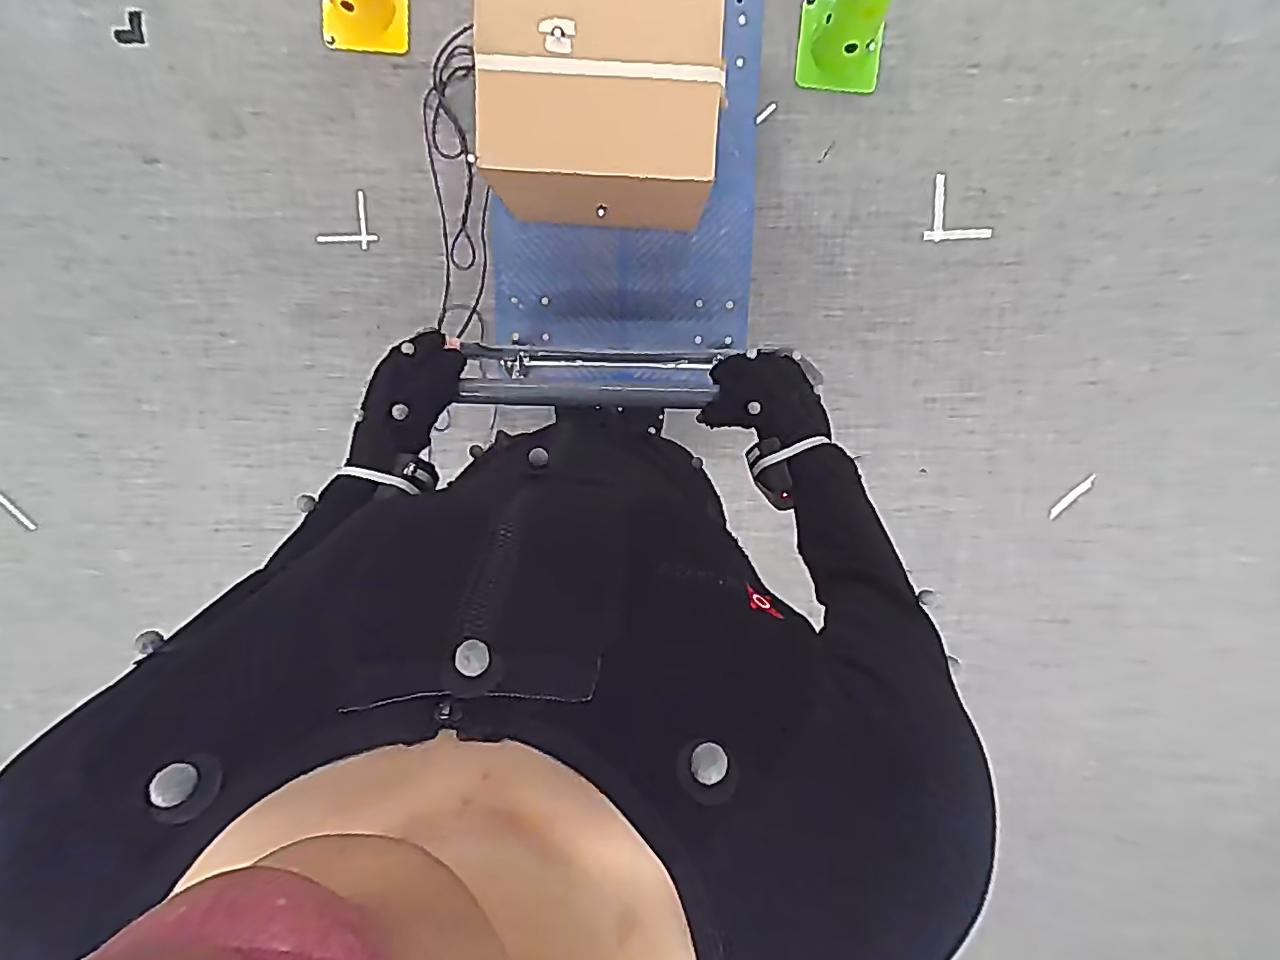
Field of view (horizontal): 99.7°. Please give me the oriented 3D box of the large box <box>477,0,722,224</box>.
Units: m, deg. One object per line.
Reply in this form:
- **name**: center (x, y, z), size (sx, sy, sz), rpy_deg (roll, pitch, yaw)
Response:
- **large box**: center (-0.066, -0.698, 1.037), size (0.408, 0.320, 0.320), rpy_deg (3, 100, 0)

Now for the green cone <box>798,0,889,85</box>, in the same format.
- **green cone**: center (0.489, -1.035, 1.128), size (0.202, 0.368, 0.200), rpy_deg (4, 100, -2)
